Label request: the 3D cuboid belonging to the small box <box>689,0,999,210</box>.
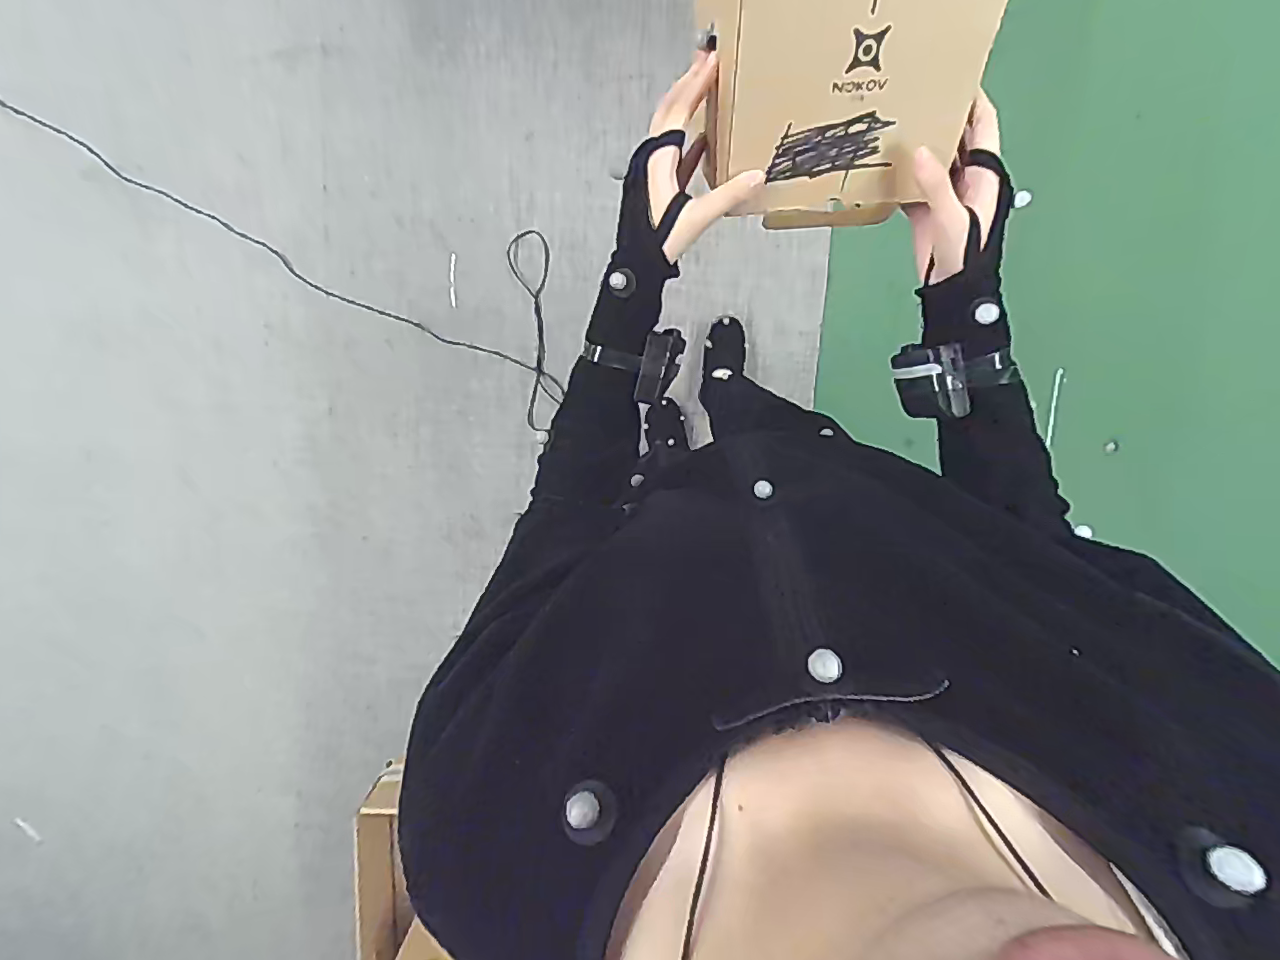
[{"bbox_3d":[0.131,-0.326,0.400,0.168,0.176,0.179,-5,137,-2],"label":"small box"}]
